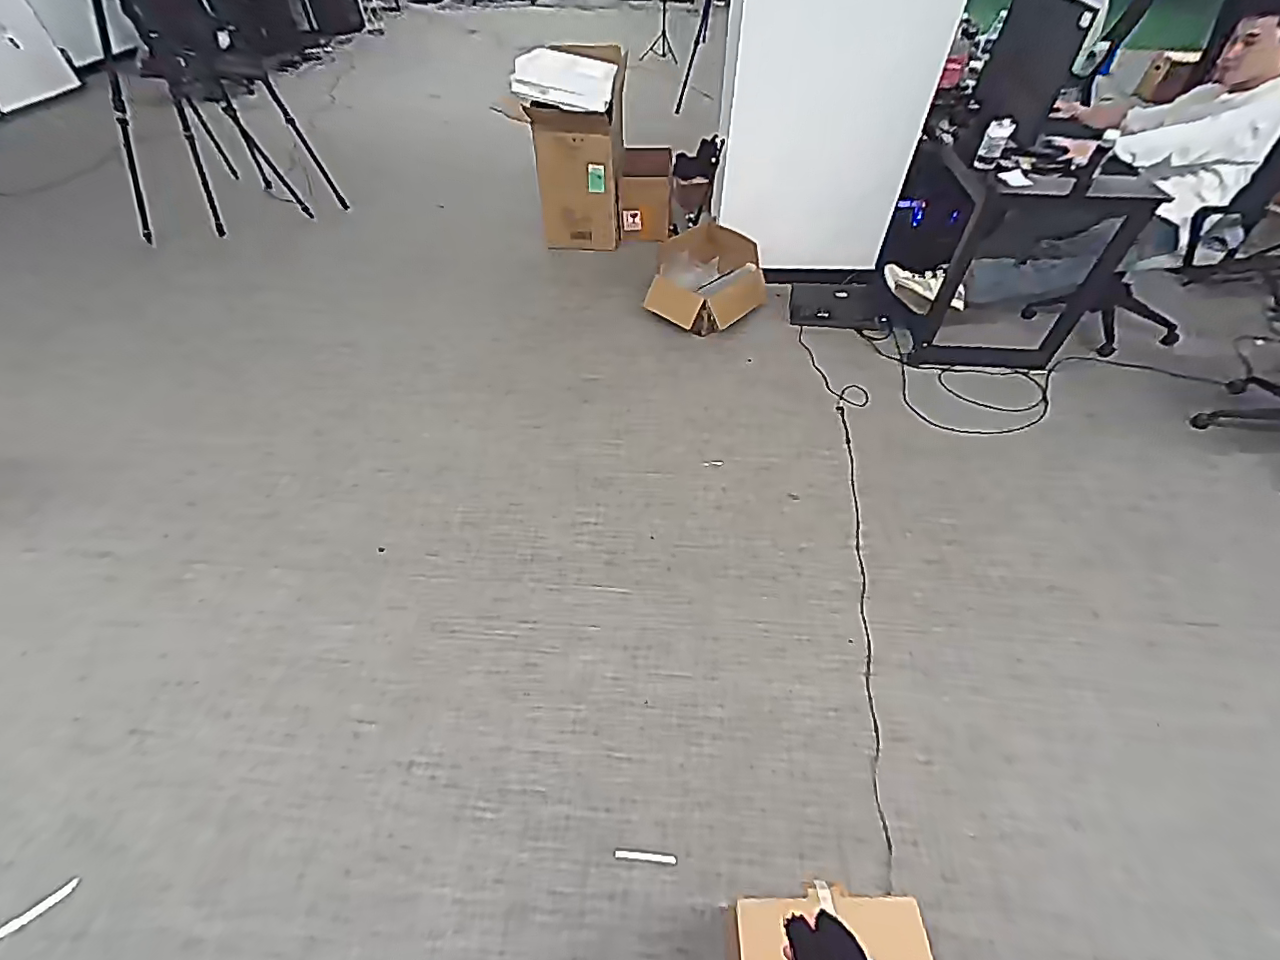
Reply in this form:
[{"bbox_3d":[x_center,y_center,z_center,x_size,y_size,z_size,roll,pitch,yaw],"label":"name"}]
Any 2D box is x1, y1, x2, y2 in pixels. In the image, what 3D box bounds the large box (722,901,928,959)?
[{"bbox_3d":[0.329,0.988,0.932,0.320,0.320,0.408,-2,50,2],"label":"large box"}]
